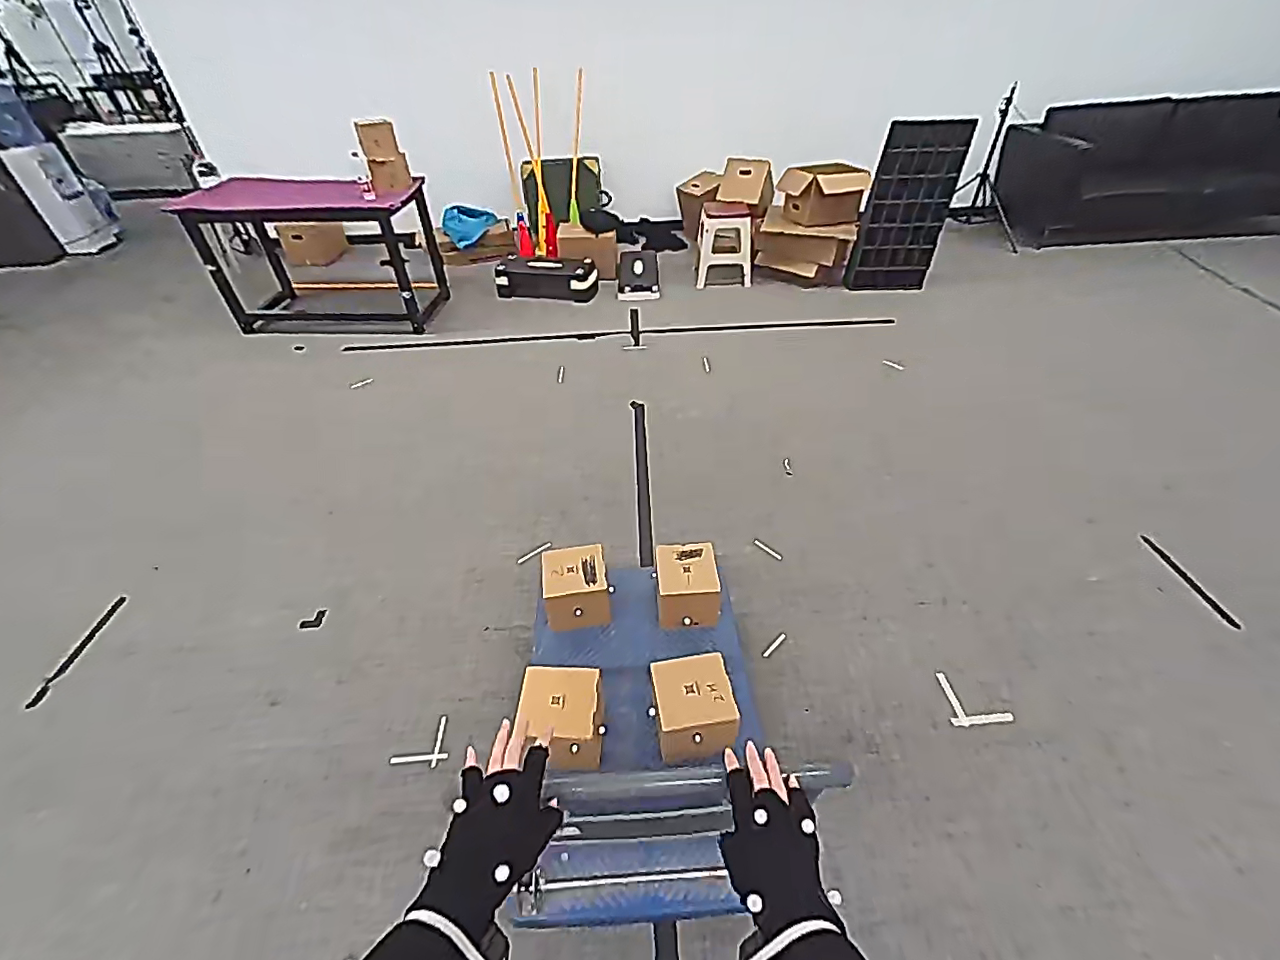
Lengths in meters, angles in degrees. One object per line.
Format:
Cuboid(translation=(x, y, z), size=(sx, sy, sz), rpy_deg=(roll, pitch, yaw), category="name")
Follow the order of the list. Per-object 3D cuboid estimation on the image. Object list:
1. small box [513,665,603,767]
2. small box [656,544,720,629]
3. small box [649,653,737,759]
Cuboid(translation=(-0.185, 0.559, 1.279), size=(0.179, 0.176, 0.168), rpy_deg=(2, 41, 2), category="small box")
Cuboid(translation=(0.132, 0.306, 1.554), size=(0.168, 0.176, 0.179), rpy_deg=(-3, 42, -1), category="small box")
Cuboid(translation=(0.122, 0.540, 1.287), size=(0.179, 0.176, 0.168), rpy_deg=(-7, 41, -5), category="small box")
